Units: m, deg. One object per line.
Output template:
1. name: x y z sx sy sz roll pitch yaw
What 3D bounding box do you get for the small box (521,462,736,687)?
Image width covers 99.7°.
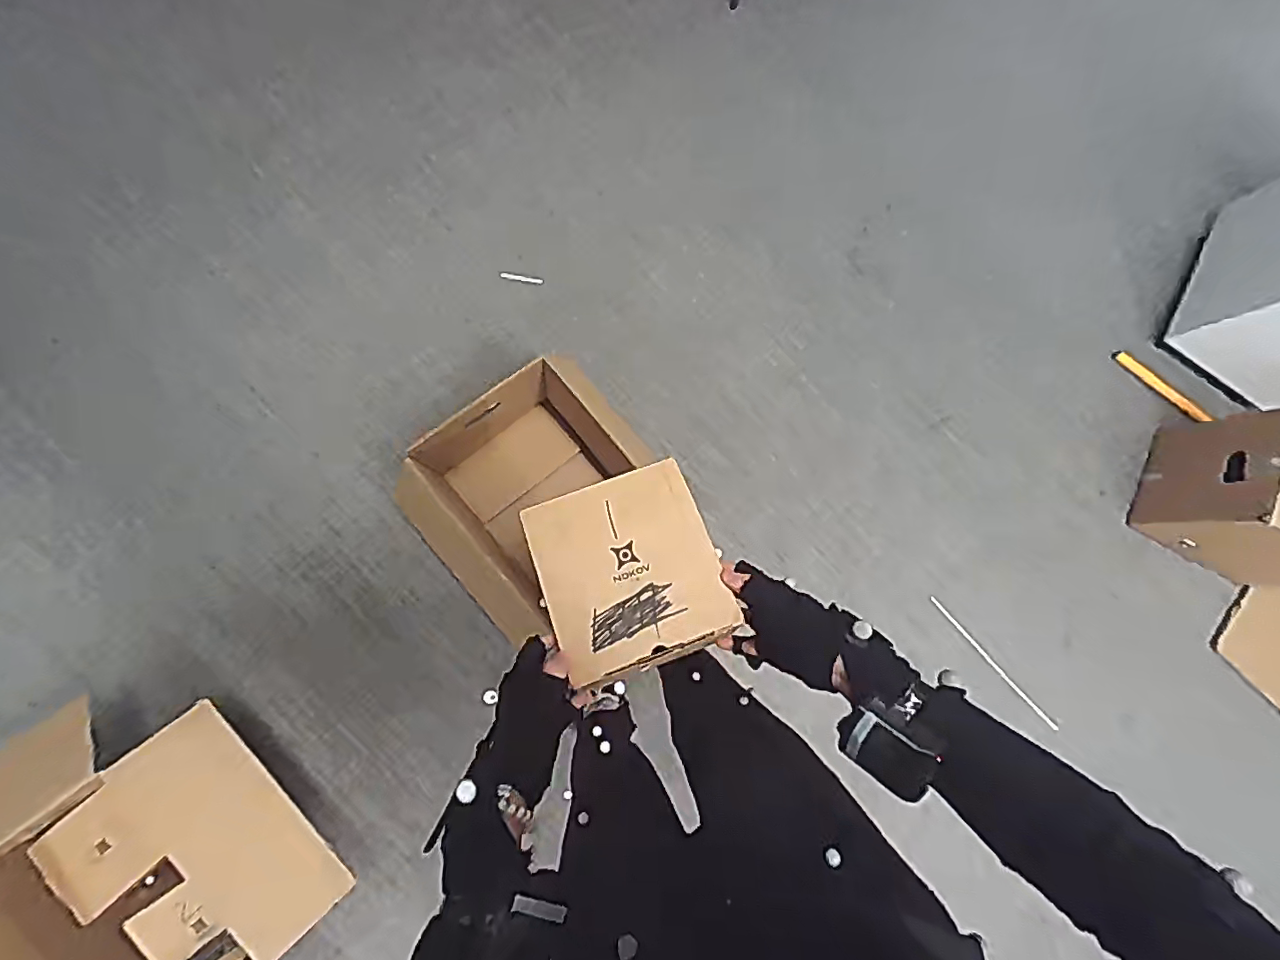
1. small box: -0.011 0.110 0.589 0.168 0.176 0.179 -19 69 -6

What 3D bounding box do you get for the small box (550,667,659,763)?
1. small box: -0.080 0.483 1.197 0.179 0.176 0.168 26 90 14
